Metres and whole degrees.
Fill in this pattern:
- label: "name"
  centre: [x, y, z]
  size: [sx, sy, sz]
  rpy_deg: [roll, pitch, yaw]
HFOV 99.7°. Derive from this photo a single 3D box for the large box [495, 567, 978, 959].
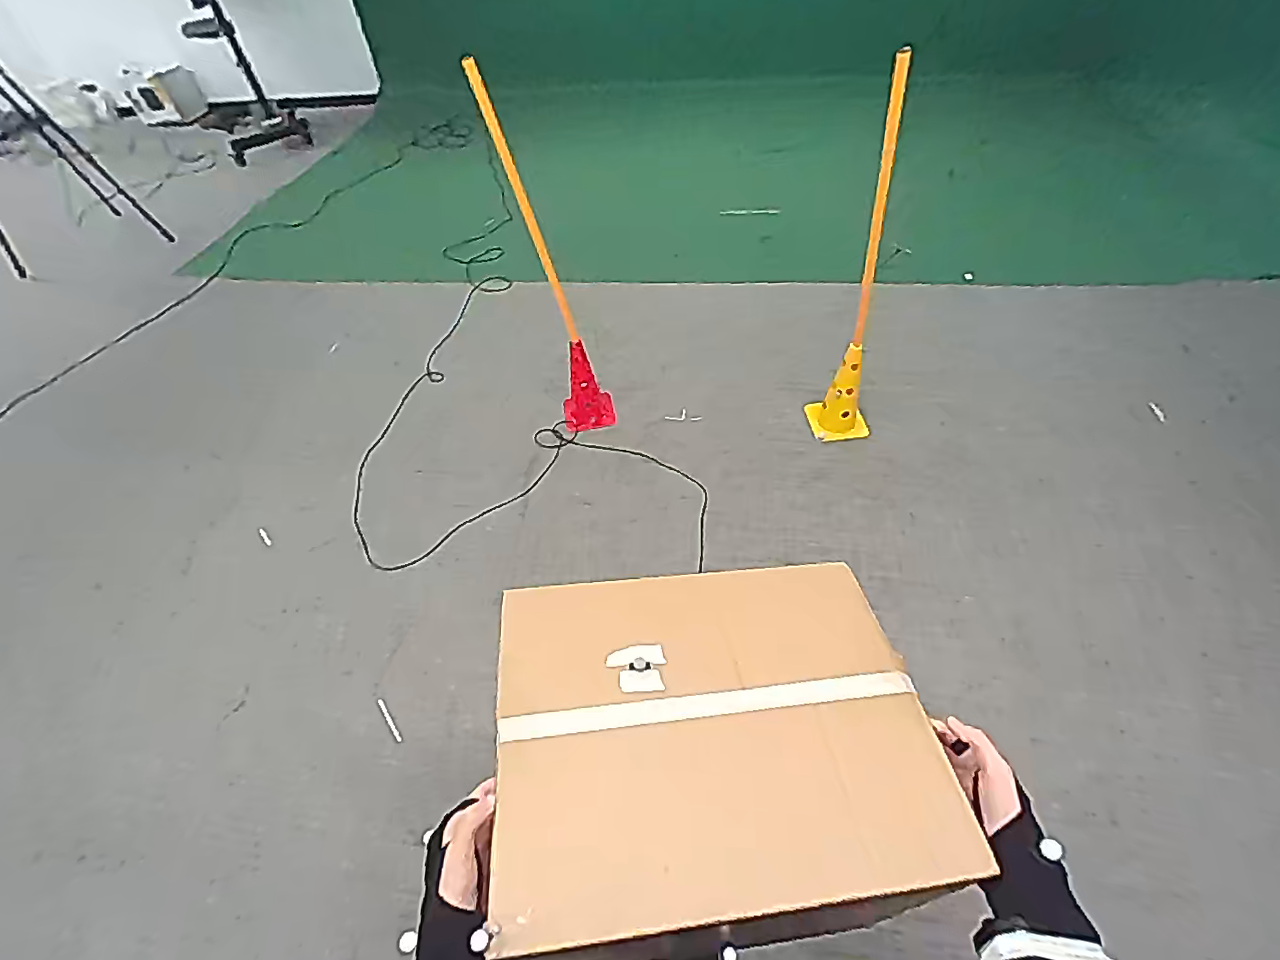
- label: "large box"
  centre: [0.065, 0.333, 0.632]
  size: [0.408, 0.320, 0.320]
  rpy_deg: [-4, 45, -6]
